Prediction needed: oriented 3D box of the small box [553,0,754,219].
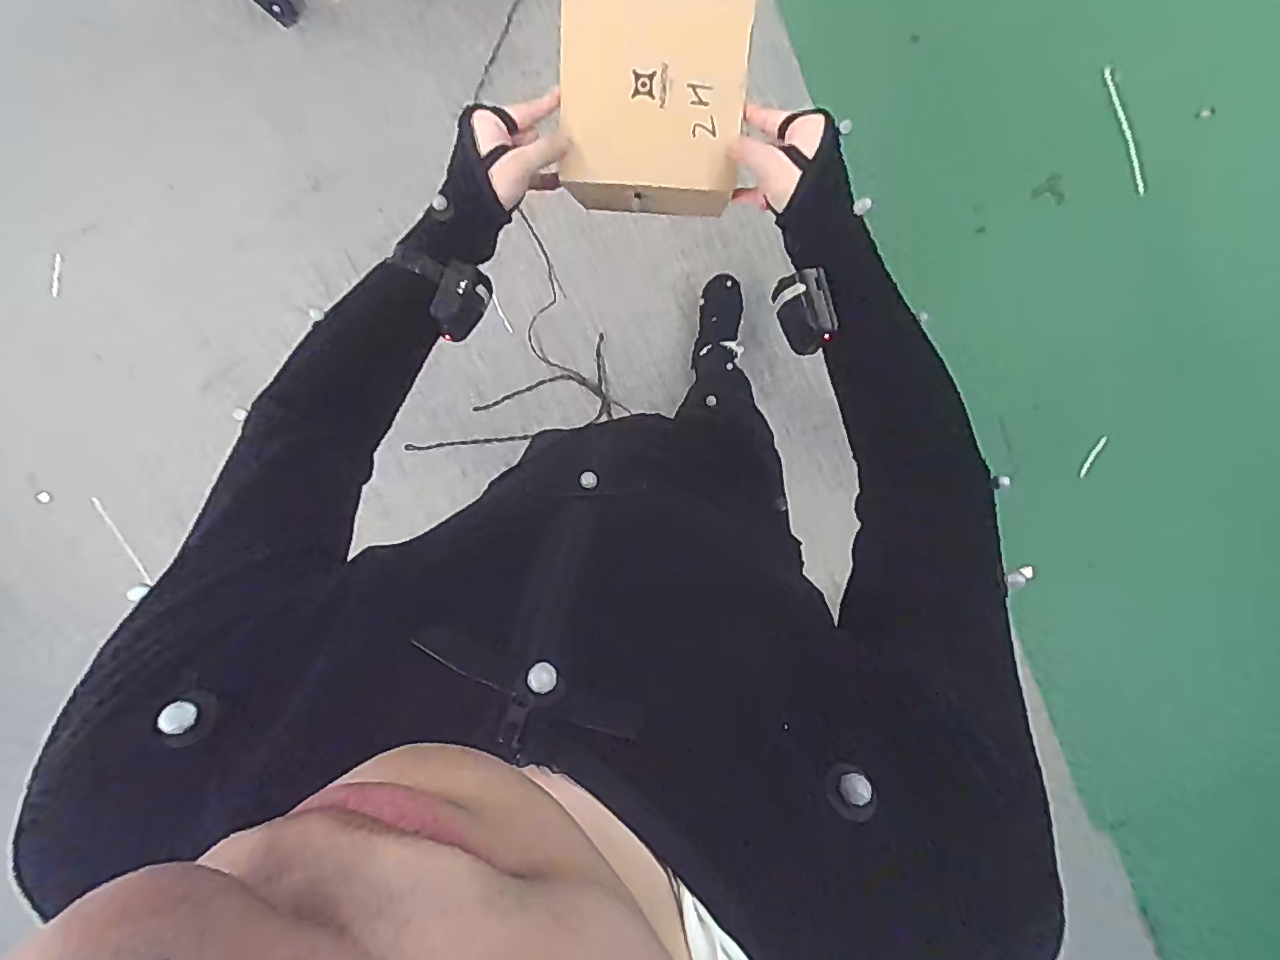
[{"bbox_3d":[0.013,-0.381,0.572,0.179,0.176,0.168,5,108,2],"label":"small box"}]
